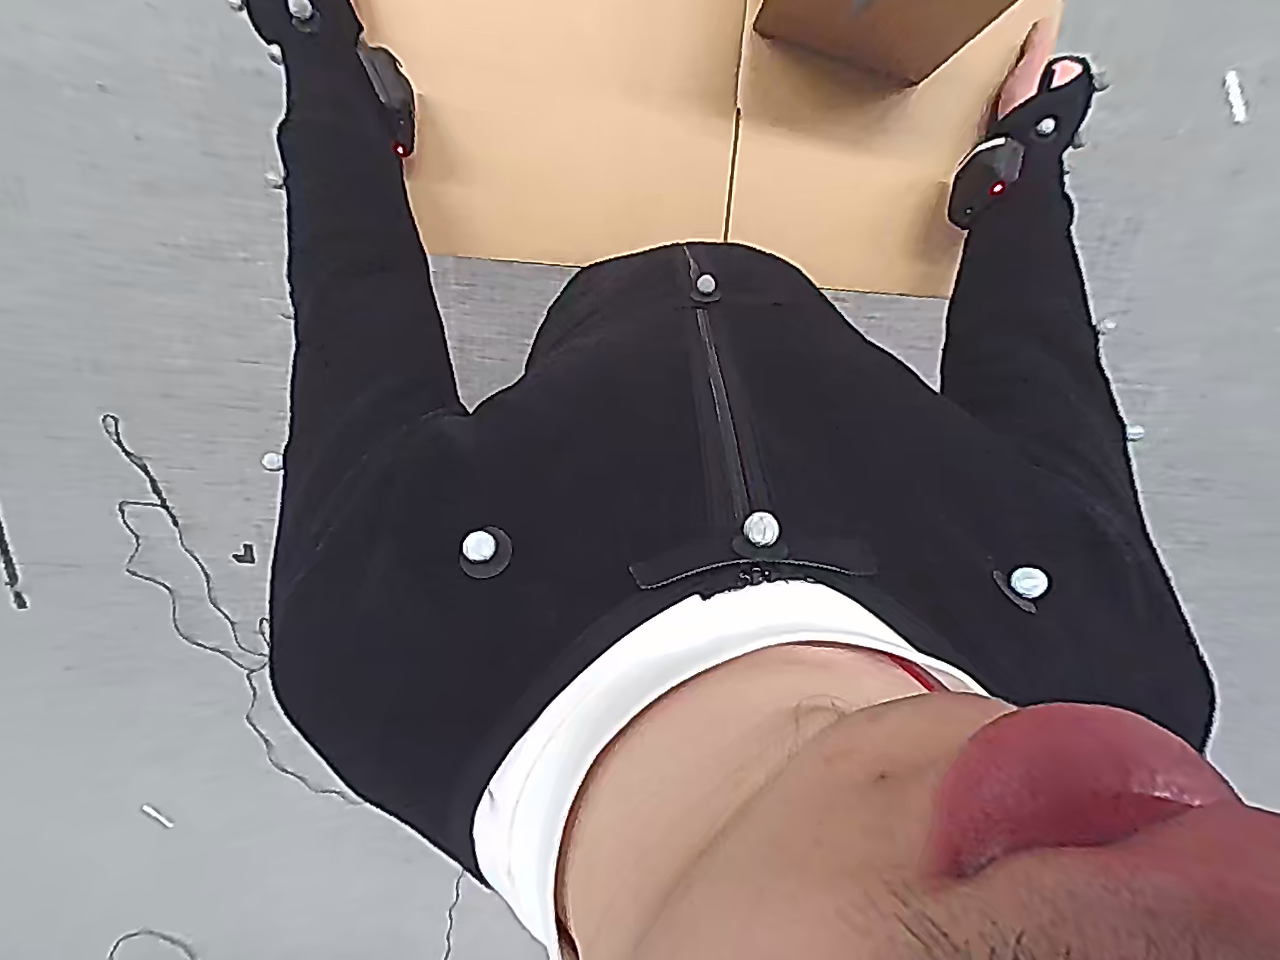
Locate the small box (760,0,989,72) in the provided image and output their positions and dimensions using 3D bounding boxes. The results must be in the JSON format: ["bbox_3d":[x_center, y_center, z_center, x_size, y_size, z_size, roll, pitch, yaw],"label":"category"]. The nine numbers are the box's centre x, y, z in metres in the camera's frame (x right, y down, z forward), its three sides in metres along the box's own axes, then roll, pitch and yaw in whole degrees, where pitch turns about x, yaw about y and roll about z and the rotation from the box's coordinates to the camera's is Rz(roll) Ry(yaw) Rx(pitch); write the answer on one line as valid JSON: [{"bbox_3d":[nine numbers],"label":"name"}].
[{"bbox_3d":[0.211,-0.466,0.425,0.179,0.176,0.168,14,105,-4],"label":"small box"}]
